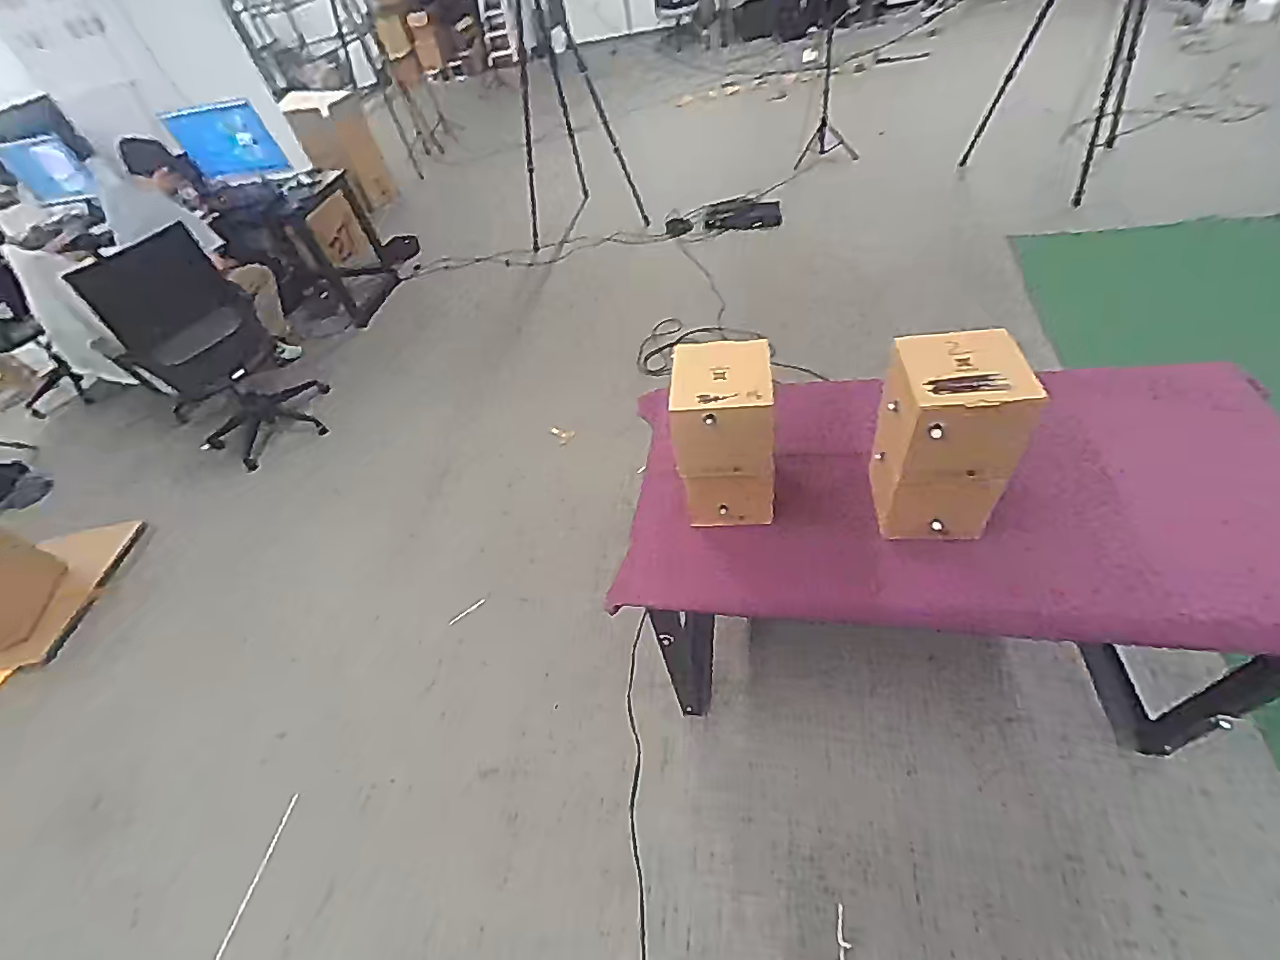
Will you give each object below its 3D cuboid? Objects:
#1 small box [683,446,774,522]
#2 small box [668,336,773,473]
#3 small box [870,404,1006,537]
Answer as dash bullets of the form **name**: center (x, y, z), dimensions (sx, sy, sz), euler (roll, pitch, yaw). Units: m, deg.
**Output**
- **small box**: center (0.177, -0.034, 1.087), dimensions (0.168, 0.176, 0.179), euler (-3, 49, 10)
- **small box**: center (0.146, -0.131, 0.957), dimensions (0.168, 0.176, 0.179), euler (-2, 49, 12)
- **small box**: center (0.526, -0.016, 0.985), dimensions (0.168, 0.176, 0.179), euler (-2, 49, 13)
